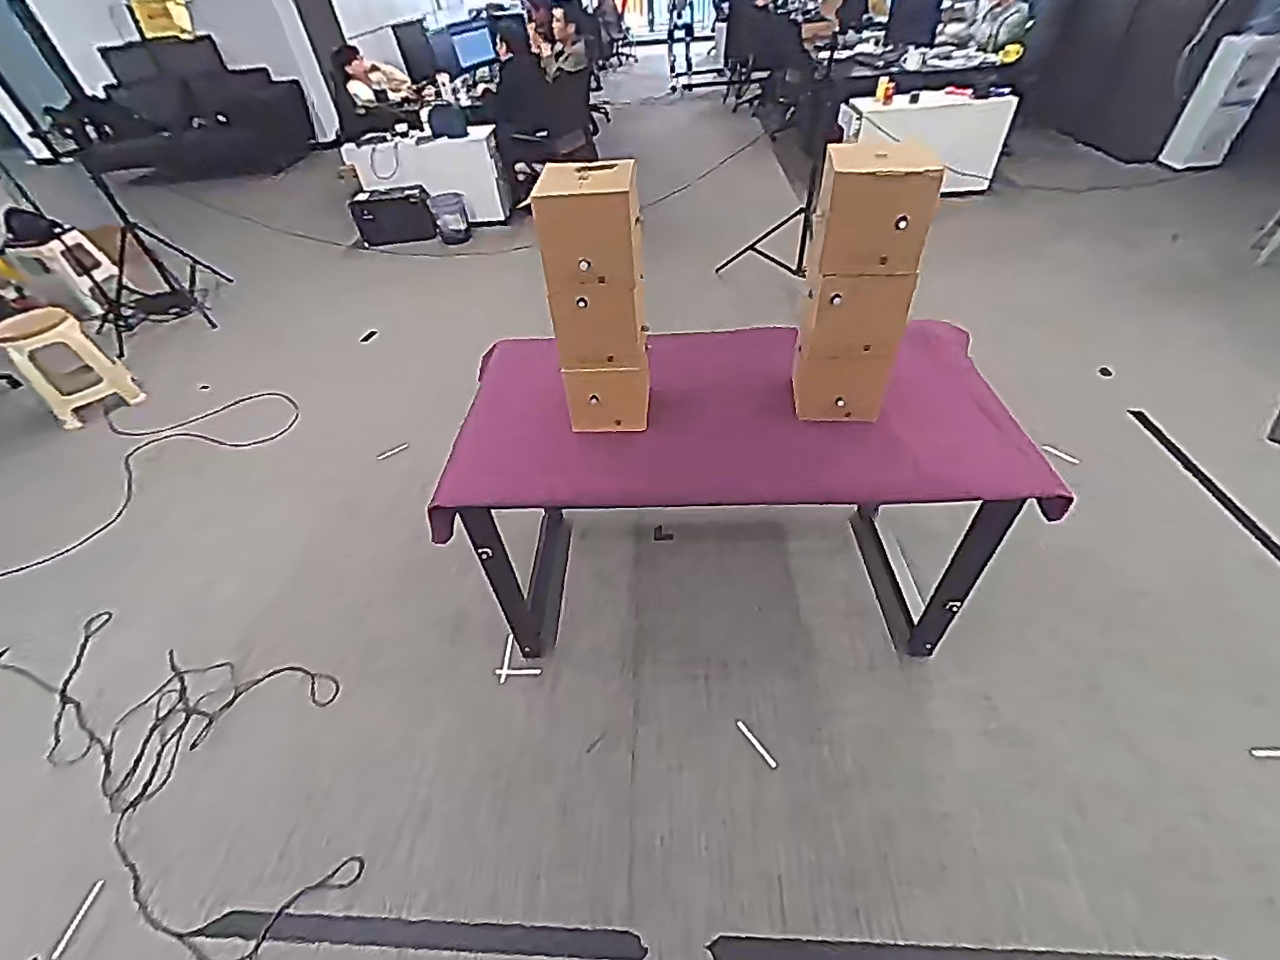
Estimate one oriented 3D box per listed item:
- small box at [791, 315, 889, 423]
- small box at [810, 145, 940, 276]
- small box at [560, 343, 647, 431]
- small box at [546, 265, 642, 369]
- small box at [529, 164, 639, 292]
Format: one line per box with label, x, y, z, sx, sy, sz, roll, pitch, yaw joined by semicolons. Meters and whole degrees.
small box;0.429;-0.246;1.190;0.168;0.176;0.179;2;45;9
small box;0.402;-0.475;0.958;0.168;0.176;0.179;4;44;8
small box;-0.074;-0.222;1.216;0.168;0.176;0.179;-1;44;5
small box;-0.085;-0.343;1.106;0.168;0.176;0.179;-2;43;4
small box;-0.092;-0.459;0.989;0.168;0.176;0.179;-1;45;5
